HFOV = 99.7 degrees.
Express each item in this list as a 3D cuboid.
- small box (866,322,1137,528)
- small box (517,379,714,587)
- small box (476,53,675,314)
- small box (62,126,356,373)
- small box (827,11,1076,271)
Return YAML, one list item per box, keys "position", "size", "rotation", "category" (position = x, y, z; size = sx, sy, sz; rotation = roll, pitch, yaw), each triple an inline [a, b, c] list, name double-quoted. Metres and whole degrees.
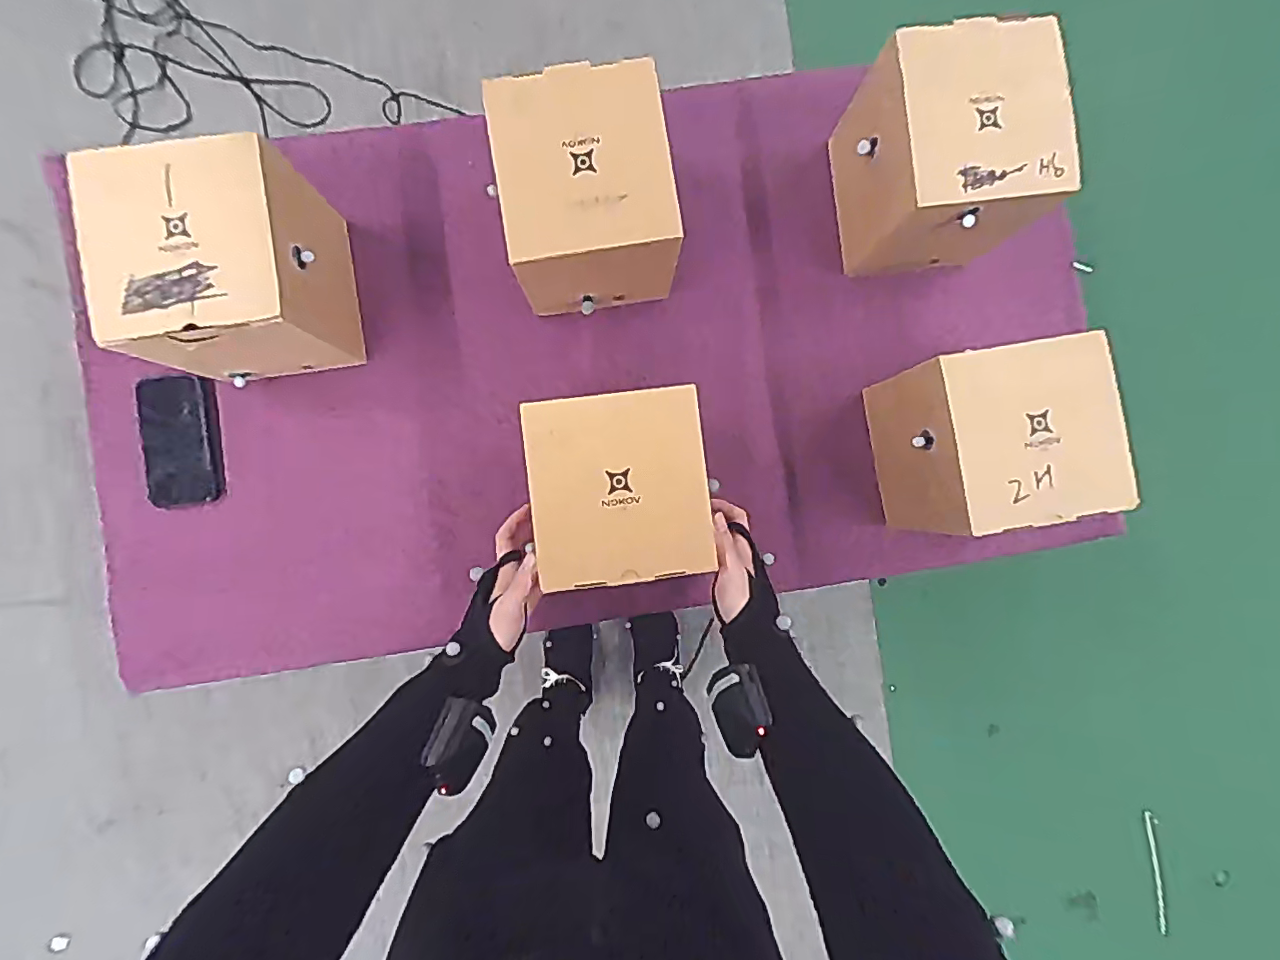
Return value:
- position: [0.365, -0.048, 0.582]
  size: [0.168, 0.176, 0.179]
  rotation: [-10, 88, -1]
  category: "small box"
- position: [-0.027, 0.005, 0.568]
  size: [0.168, 0.176, 0.179]
  rotation: [-7, 88, -3]
  category: "small box"
- position: [-0.063, -0.299, 0.578]
  size: [0.168, 0.176, 0.179]
  rotation: [-9, 89, -2]
  category: "small box"
- position: [-0.419, -0.217, 0.557]
  size: [0.168, 0.176, 0.179]
  rotation: [-9, 88, -3]
  category: "small box"
- position: [0.321, -0.355, 0.595]
  size: [0.168, 0.176, 0.179]
  rotation: [-7, 88, -2]
  category: "small box"
